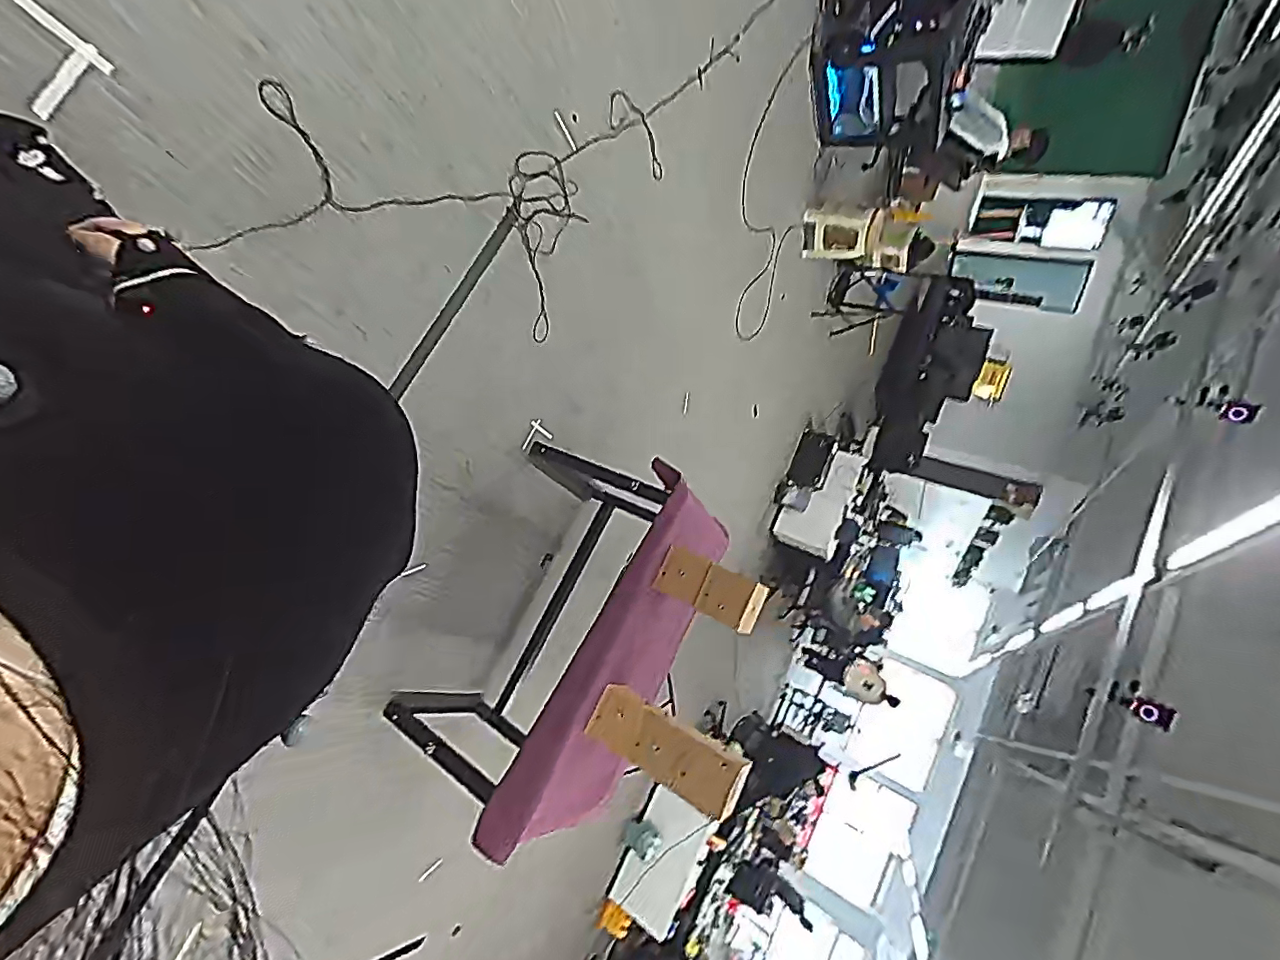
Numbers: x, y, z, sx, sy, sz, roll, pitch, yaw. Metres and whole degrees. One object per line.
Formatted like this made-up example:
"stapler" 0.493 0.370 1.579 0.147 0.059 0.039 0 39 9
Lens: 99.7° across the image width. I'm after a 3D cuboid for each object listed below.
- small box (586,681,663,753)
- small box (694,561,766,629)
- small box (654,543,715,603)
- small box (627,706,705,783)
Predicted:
"small box" -0.054 0.796 1.823 0.168 0.176 0.179 -63 151 -11
"small box" 0.300 0.384 1.811 0.168 0.176 0.179 -65 152 -5
"small box" 0.171 0.334 1.897 0.168 0.176 0.179 -64 151 -7
"small box" 0.082 0.849 1.747 0.168 0.176 0.179 -63 150 -12
